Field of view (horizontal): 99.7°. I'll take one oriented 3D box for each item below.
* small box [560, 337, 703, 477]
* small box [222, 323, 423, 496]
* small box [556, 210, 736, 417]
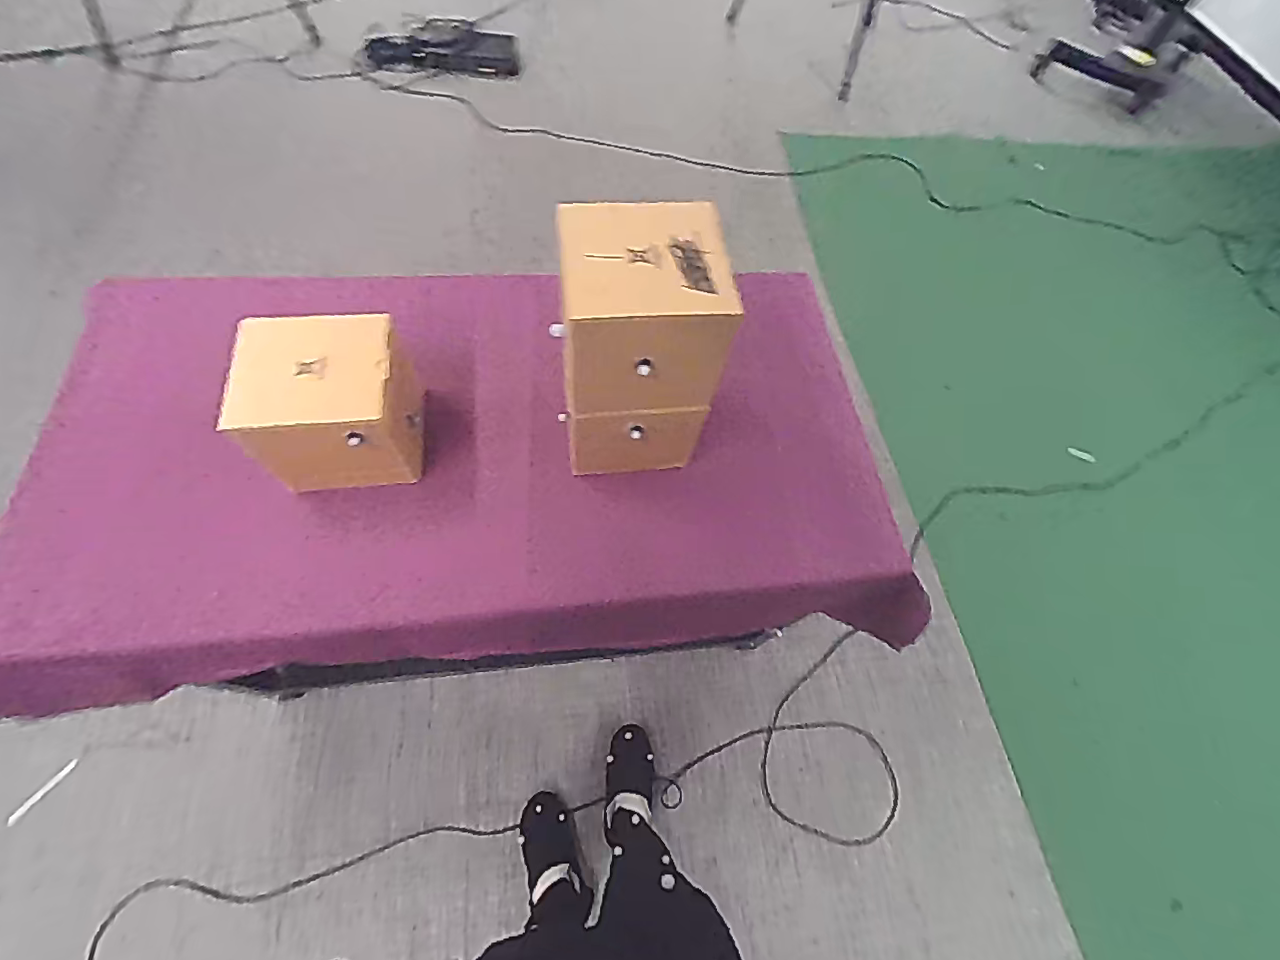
[{"bbox_3d":[-0.020,-0.113,0.783,0.179,0.176,0.168,-4,64,-9],"label":"small box"},{"bbox_3d":[-0.408,-0.088,0.730,0.179,0.176,0.168,-5,63,-10],"label":"small box"},{"bbox_3d":[-0.005,-0.189,0.639,0.179,0.176,0.168,-5,64,-8],"label":"small box"}]
